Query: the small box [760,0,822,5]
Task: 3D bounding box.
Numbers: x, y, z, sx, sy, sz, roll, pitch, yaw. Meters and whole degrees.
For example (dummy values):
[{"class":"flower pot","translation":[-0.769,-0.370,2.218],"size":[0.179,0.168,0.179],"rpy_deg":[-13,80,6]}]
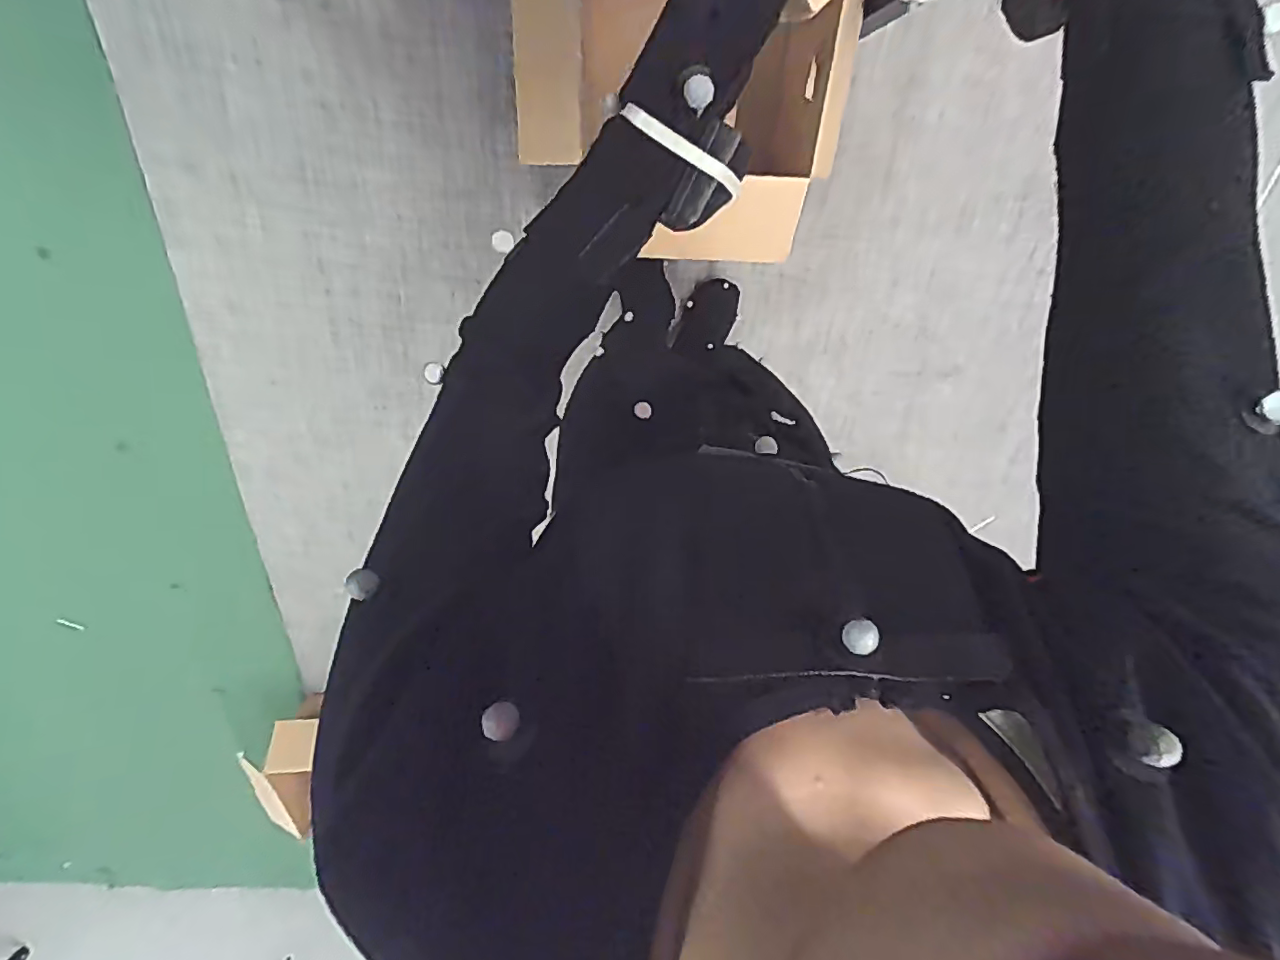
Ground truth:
[{"class":"small box","translation":[0.127,-0.459,0.347],"size":[0.179,0.176,0.168],"rpy_deg":[-34,125,22]}]
